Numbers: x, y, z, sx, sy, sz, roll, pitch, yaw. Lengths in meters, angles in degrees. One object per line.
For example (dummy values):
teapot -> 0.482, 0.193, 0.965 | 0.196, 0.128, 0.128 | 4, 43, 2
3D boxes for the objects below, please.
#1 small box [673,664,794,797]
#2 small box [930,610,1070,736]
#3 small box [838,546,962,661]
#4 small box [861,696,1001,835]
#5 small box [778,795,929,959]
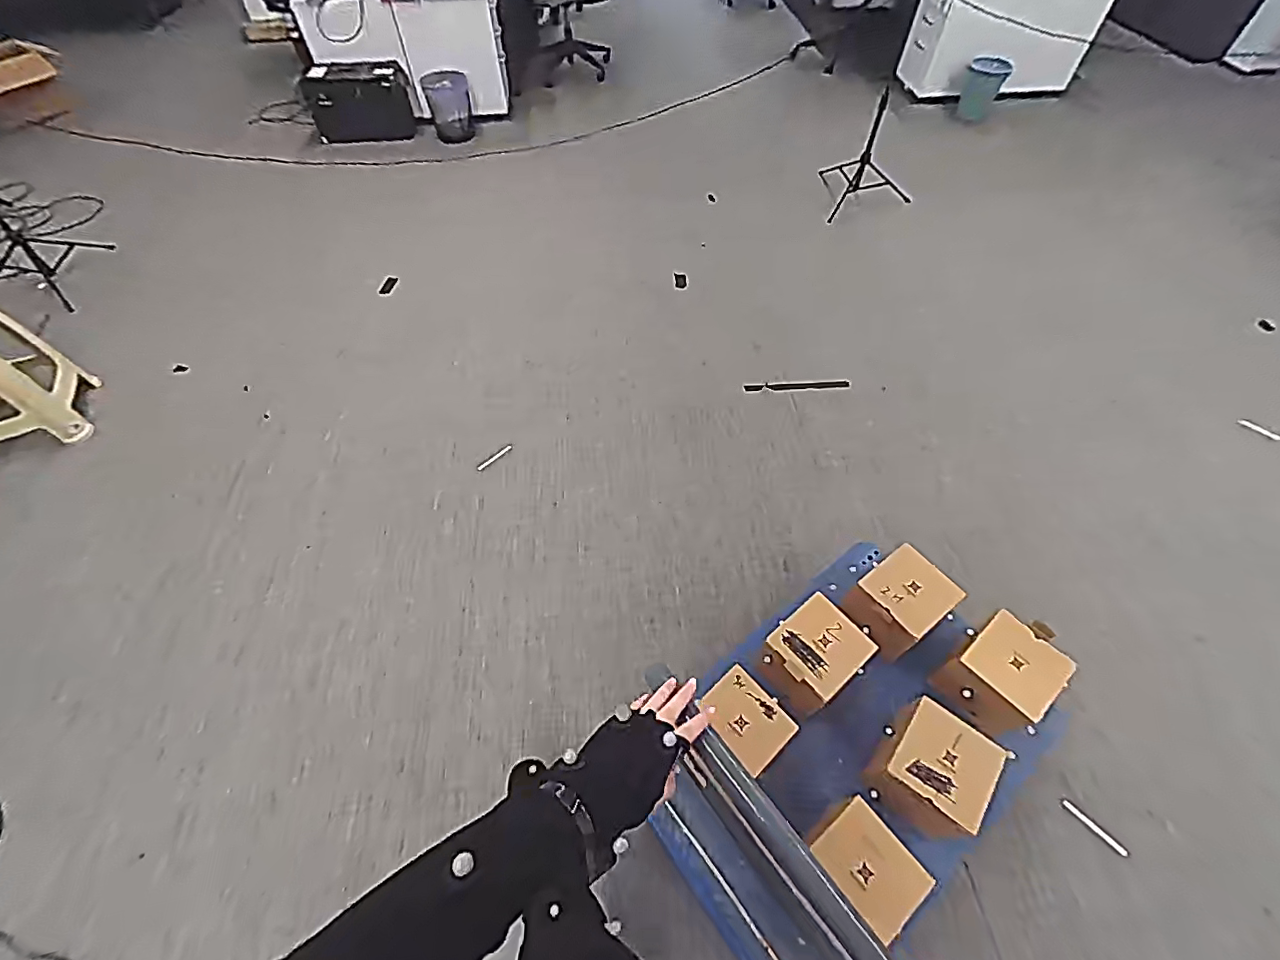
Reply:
small box -> 0.183, 0.518, 1.108 | 0.179, 0.176, 0.168 | -36, 63, -22
small box -> 0.769, 0.425, 1.179 | 0.179, 0.176, 0.168 | -35, 62, -22
small box -> 0.598, 0.292, 1.269 | 0.179, 0.176, 0.168 | -31, 61, -19
small box -> 0.565, 0.572, 1.074 | 0.168, 0.176, 0.179 | 35, 61, 22
small box -> 0.370, 0.710, 0.977 | 0.179, 0.176, 0.168 | -31, 61, -21
